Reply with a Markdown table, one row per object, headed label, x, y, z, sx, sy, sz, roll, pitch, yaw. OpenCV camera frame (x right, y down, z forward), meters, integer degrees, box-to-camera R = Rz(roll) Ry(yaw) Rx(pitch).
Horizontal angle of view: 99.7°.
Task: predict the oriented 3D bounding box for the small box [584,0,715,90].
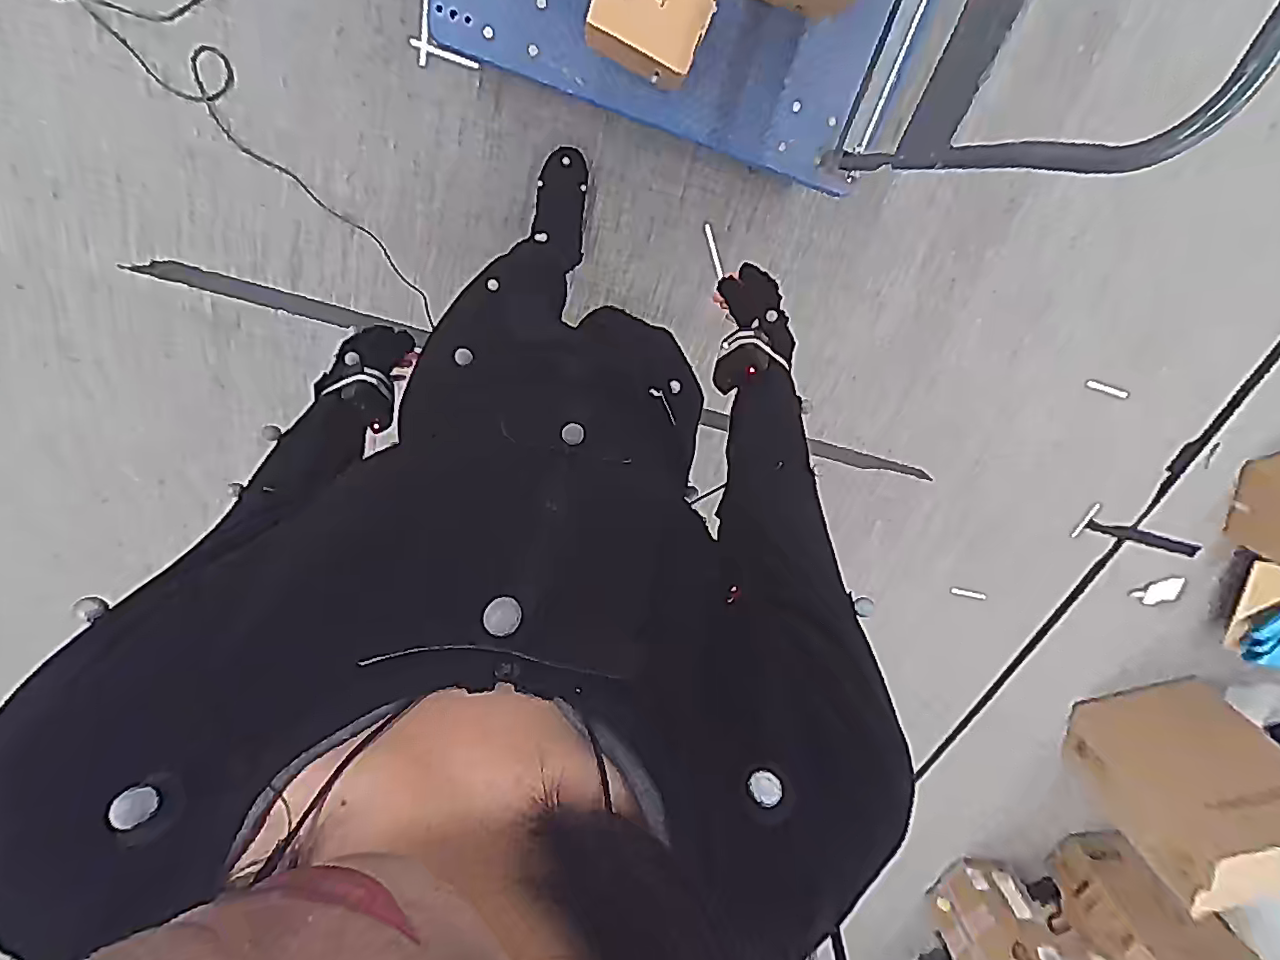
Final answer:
| label | x | y | z | sx | sy | sz | roll | pitch | yaw |
| --- | --- | --- | --- | --- | --- | --- | --- | --- | --- |
| small box | 0.017 | -0.780 | 0.896 | 0.179 | 0.176 | 0.168 | 19 | 114 | -14 |

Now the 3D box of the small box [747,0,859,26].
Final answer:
| label | x | y | z | sx | sy | sz | roll | pitch | yaw |
| --- | --- | --- | --- | --- | --- | --- | --- | --- | --- |
| small box | 0.283 | -0.880 | 0.867 | 0.168 | 0.176 | 0.179 | 10 | 117 | -11 |
